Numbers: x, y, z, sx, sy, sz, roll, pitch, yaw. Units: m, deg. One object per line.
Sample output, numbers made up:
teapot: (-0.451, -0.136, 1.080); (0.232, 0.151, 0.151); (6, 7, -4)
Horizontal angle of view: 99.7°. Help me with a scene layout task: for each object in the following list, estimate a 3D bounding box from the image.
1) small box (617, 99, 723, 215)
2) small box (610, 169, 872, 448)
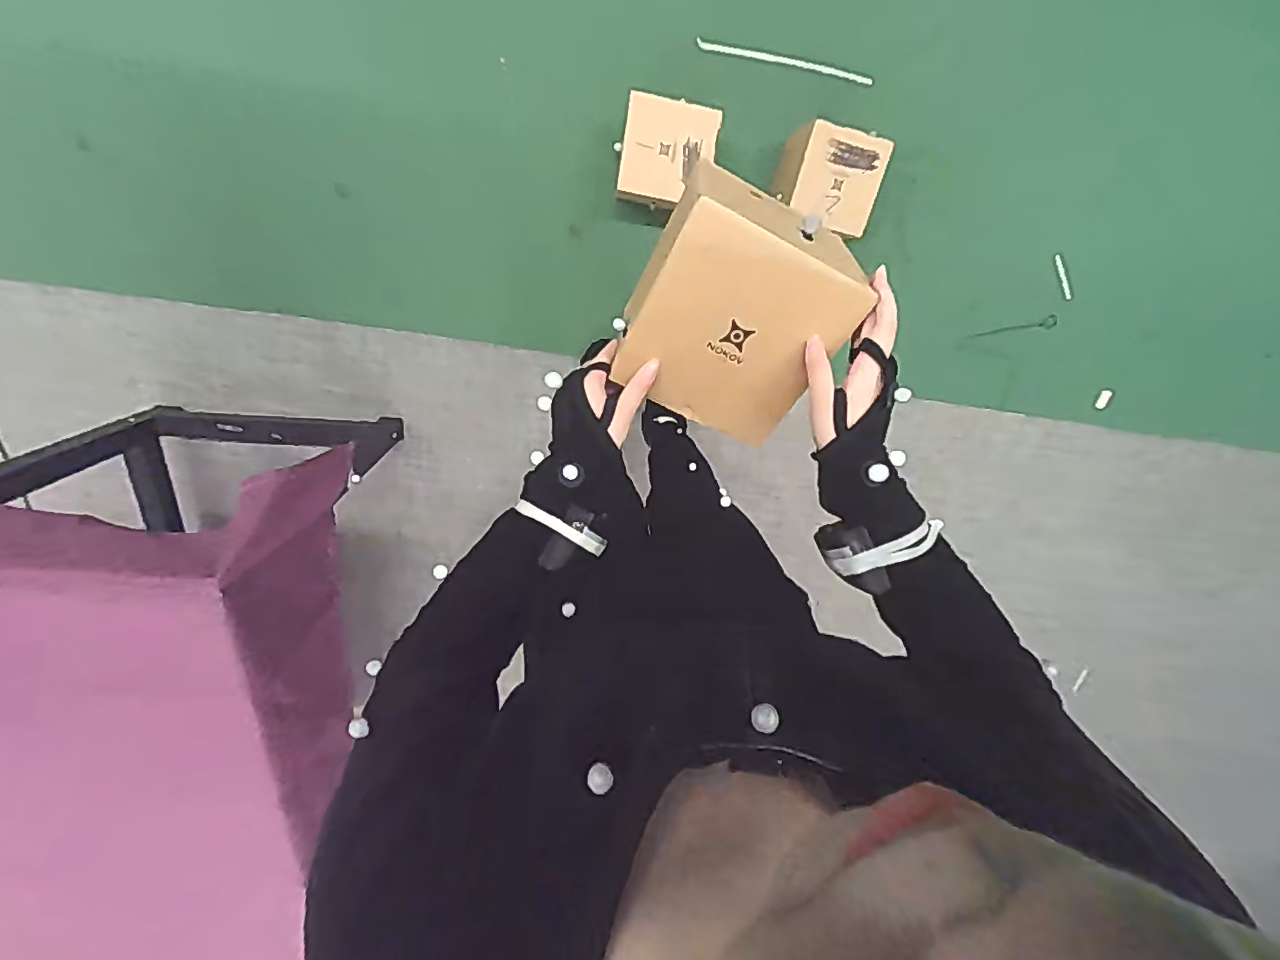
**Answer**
small box: (0.053, -0.640, 1.097); (0.179, 0.176, 0.168); (9, 112, -6)
small box: (0.086, -0.170, 0.528); (0.168, 0.176, 0.179); (23, 129, -12)
